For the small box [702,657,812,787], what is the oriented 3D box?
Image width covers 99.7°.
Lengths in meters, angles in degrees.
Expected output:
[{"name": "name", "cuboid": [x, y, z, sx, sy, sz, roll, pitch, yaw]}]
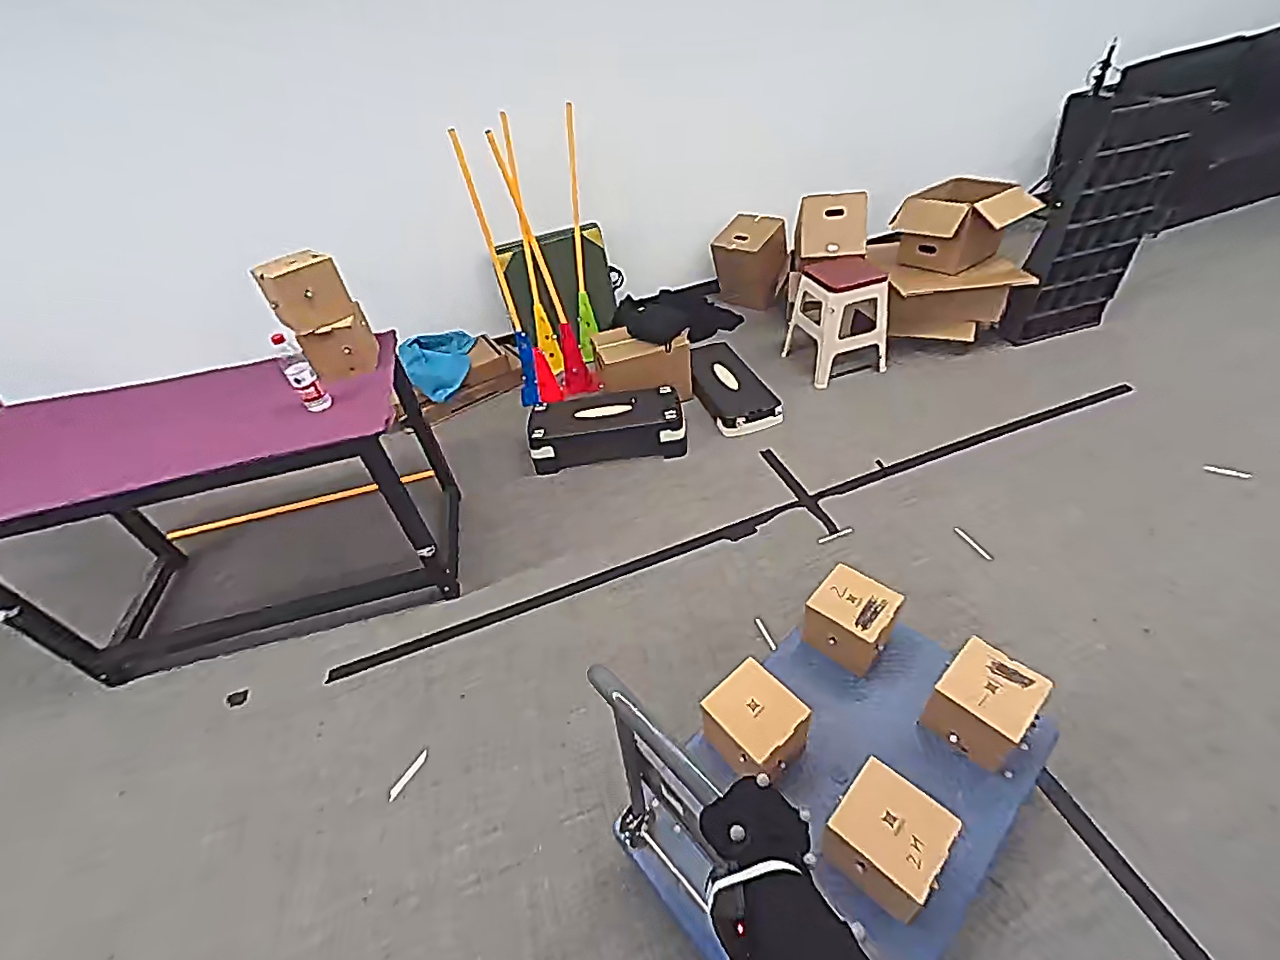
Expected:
[{"name": "small box", "cuboid": [0.255, 0.543, 1.211, 0.168, 0.176, 0.179, -32, 48, -24]}]

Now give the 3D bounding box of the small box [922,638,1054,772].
[{"name": "small box", "cuboid": [0.748, 0.491, 1.180, 0.179, 0.176, 0.168, -35, 48, -25]}]

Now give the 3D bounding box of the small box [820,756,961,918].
[{"name": "small box", "cuboid": [0.463, 0.677, 1.024, 0.168, 0.176, 0.179, -37, 48, -27]}]
